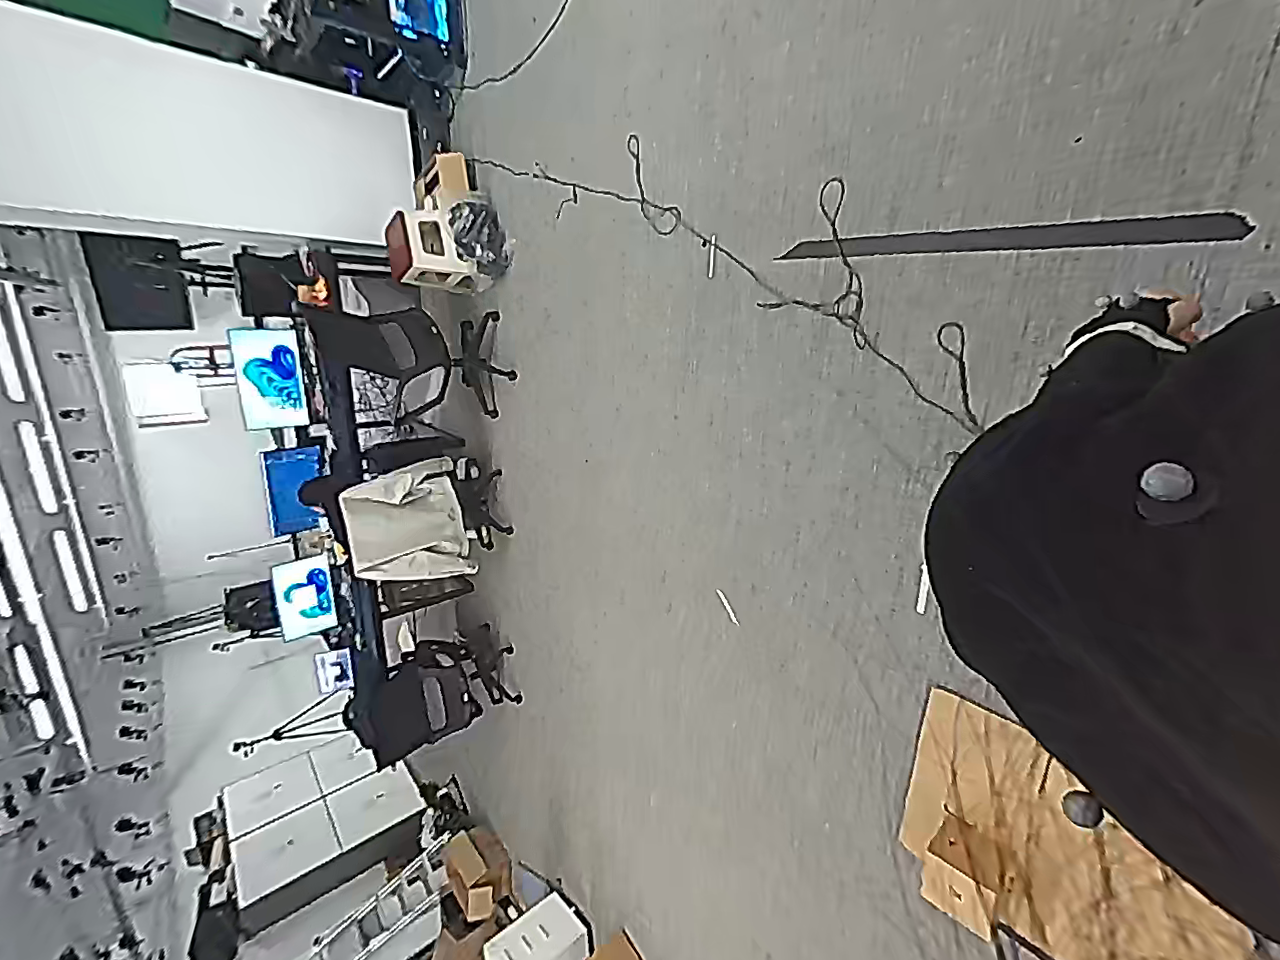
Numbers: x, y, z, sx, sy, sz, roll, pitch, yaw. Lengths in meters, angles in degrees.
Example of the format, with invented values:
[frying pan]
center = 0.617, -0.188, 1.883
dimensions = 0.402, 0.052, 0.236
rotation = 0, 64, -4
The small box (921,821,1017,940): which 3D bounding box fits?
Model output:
[small box]
center = 0.908, 1.091, 1.495
dimensions = 0.179, 0.176, 0.168
rotation = 12, 111, 47
